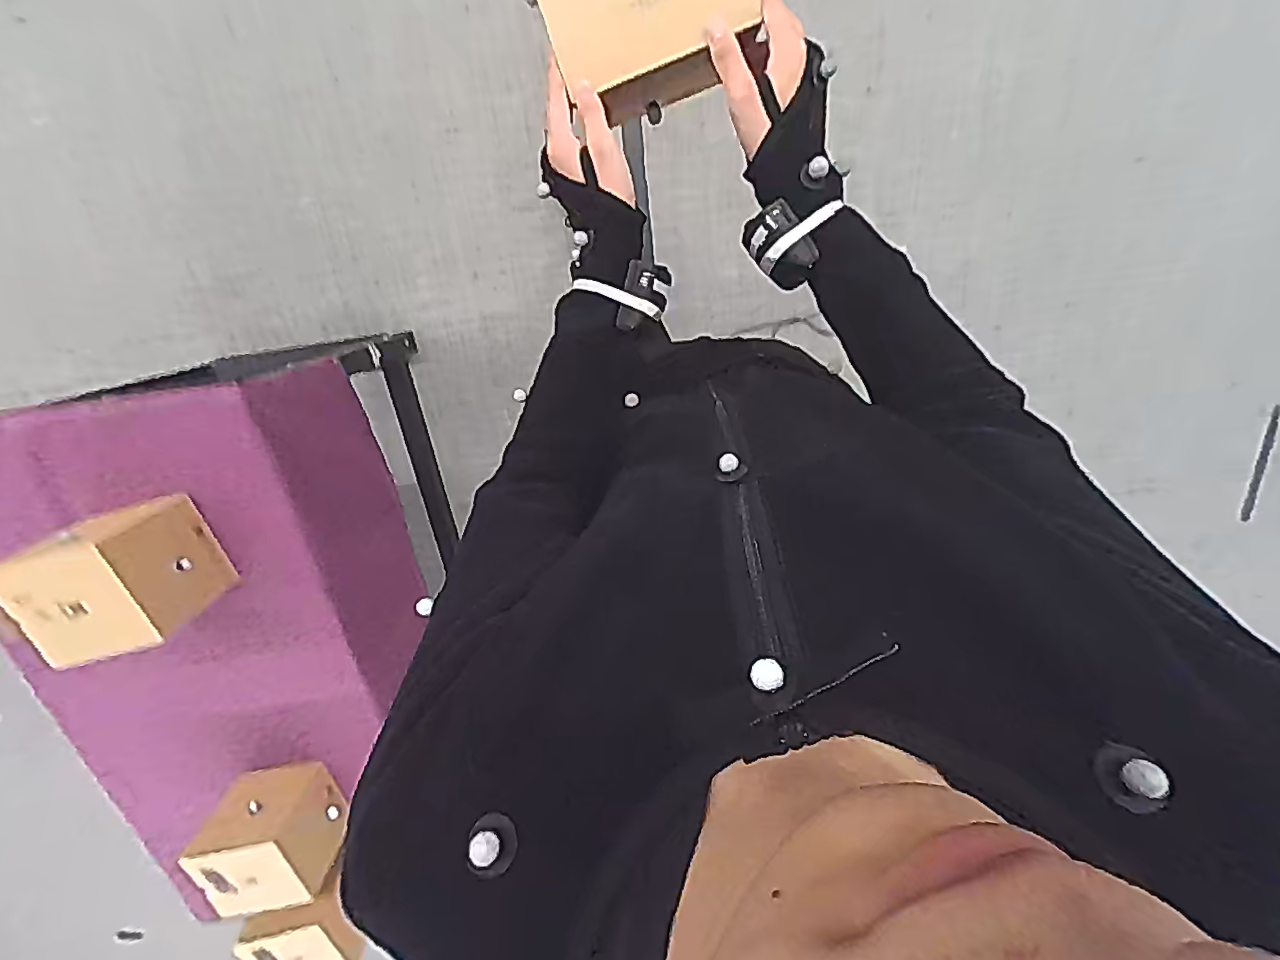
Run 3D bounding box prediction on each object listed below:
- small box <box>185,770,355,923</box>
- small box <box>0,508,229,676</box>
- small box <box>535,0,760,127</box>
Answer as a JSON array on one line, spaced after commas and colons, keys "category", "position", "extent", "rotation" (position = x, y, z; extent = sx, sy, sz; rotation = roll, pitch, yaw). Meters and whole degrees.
[{"category": "small box", "position": [-0.689, 0.691, 1.031], "extent": [0.179, 0.176, 0.168], "rotation": [-12, 112, 3]}, {"category": "small box", "position": [-0.772, 0.159, 0.814], "extent": [0.179, 0.176, 0.168], "rotation": [-14, 112, 5]}, {"category": "small box", "position": [-0.006, -0.442, 0.466], "extent": [0.168, 0.176, 0.179], "rotation": [-15, 112, 11]}]
